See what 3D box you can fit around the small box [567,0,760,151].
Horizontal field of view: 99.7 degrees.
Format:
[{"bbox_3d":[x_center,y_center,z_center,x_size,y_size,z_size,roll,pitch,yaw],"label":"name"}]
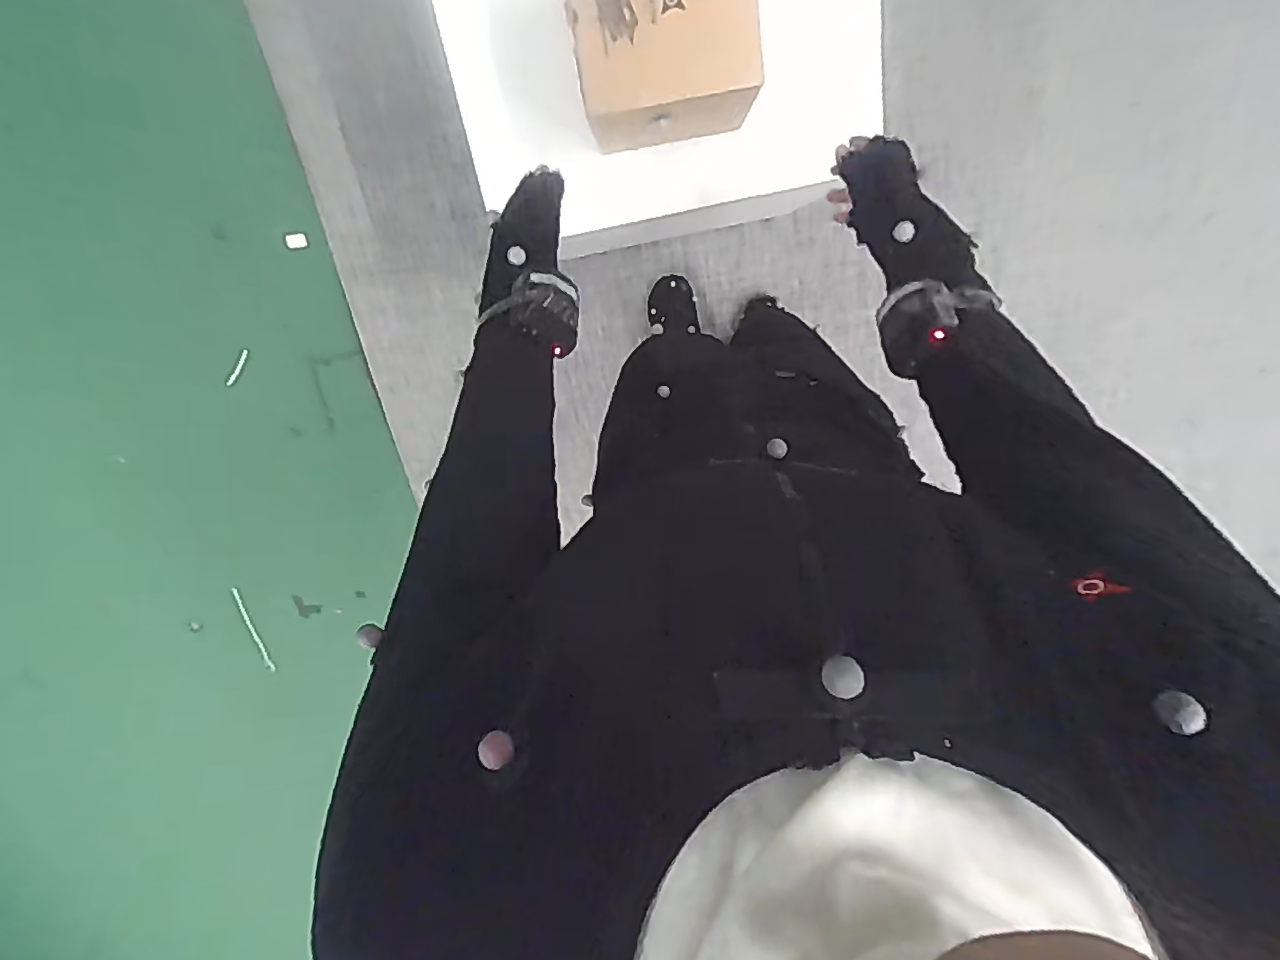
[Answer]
[{"bbox_3d":[0.023,-0.470,0.574,0.179,0.176,0.168,-8,110,4],"label":"small box"}]
